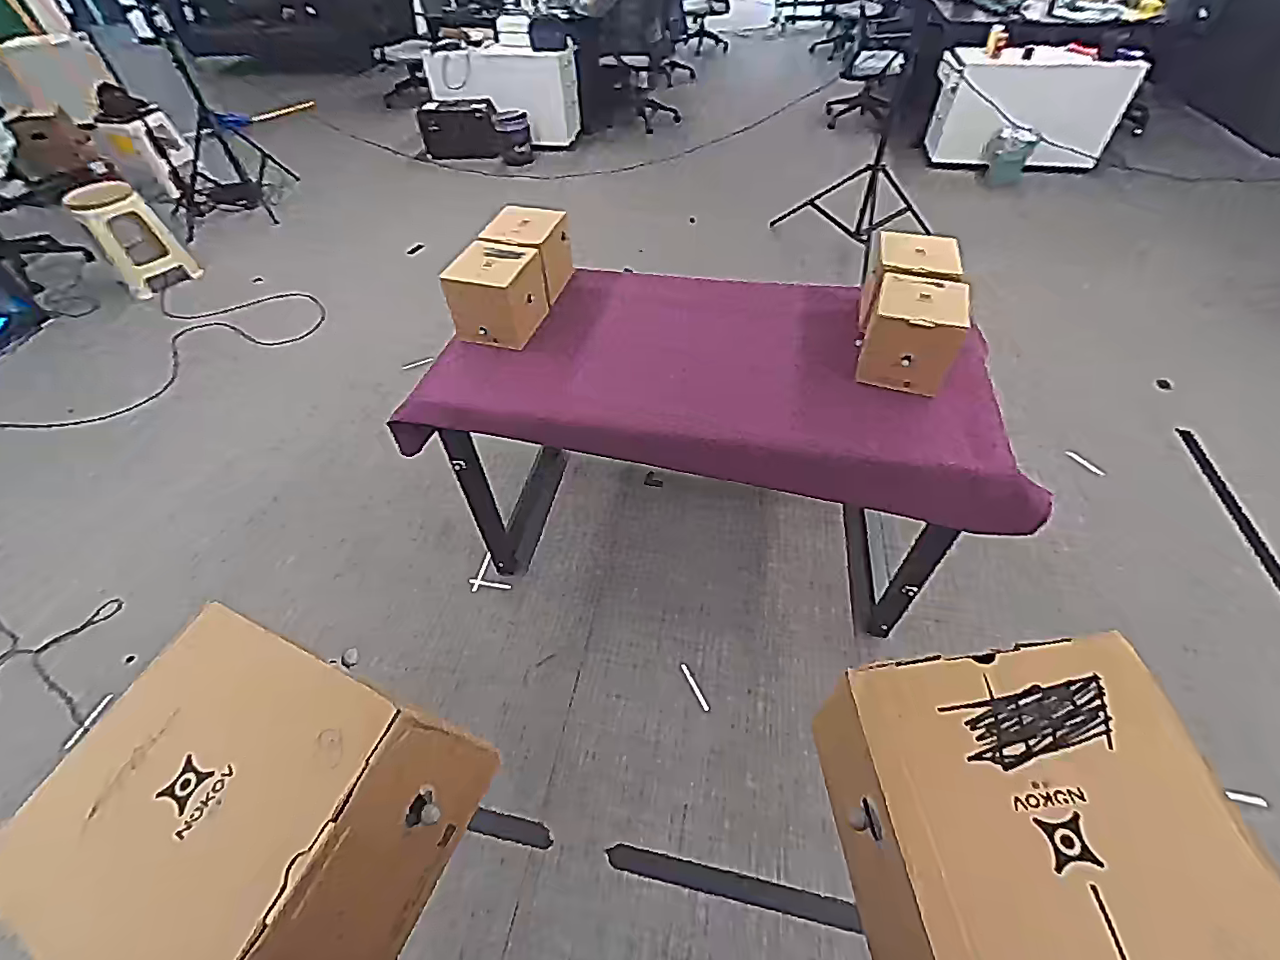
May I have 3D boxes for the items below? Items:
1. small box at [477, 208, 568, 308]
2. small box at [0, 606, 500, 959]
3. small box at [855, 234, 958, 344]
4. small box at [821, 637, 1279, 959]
[{"bbox_3d":[-0.291,-0.572,1.391,0.168,0.176,0.179,11,51,11],"label":"small box"},{"bbox_3d":[-0.224,0.215,0.361,0.179,0.176,0.168,16,58,21],"label":"small box"},{"bbox_3d":[0.609,-0.445,1.258,0.168,0.176,0.179,11,50,10],"label":"small box"},{"bbox_3d":[0.227,0.220,0.344,0.168,0.176,0.179,-9,56,3],"label":"small box"}]
